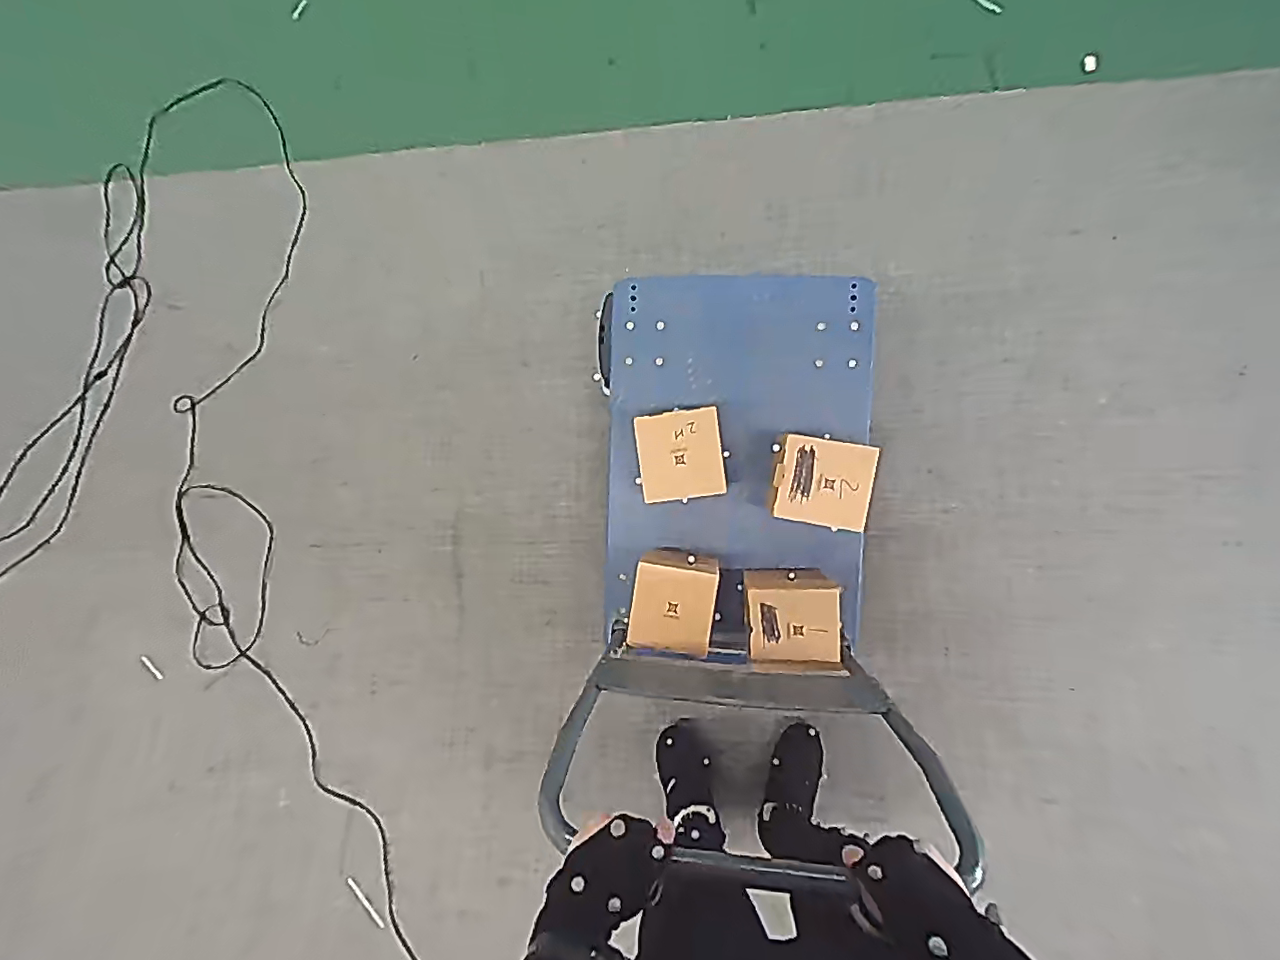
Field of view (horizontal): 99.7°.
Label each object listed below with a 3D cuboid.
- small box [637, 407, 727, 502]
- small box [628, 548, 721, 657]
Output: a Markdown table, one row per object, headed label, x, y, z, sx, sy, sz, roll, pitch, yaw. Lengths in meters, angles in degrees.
| label | x | y | z | sx | sy | sz | roll | pitch | yaw |
| --- | --- | --- | --- | --- | --- | --- | --- | --- | --- |
| small box | 0.092 | -0.055 | 1.142 | 0.168 | 0.176 | 0.179 | -7 | 92 | 7 |
| small box | 0.076 | 0.252 | 1.162 | 0.168 | 0.176 | 0.179 | 9 | 95 | 6 |
